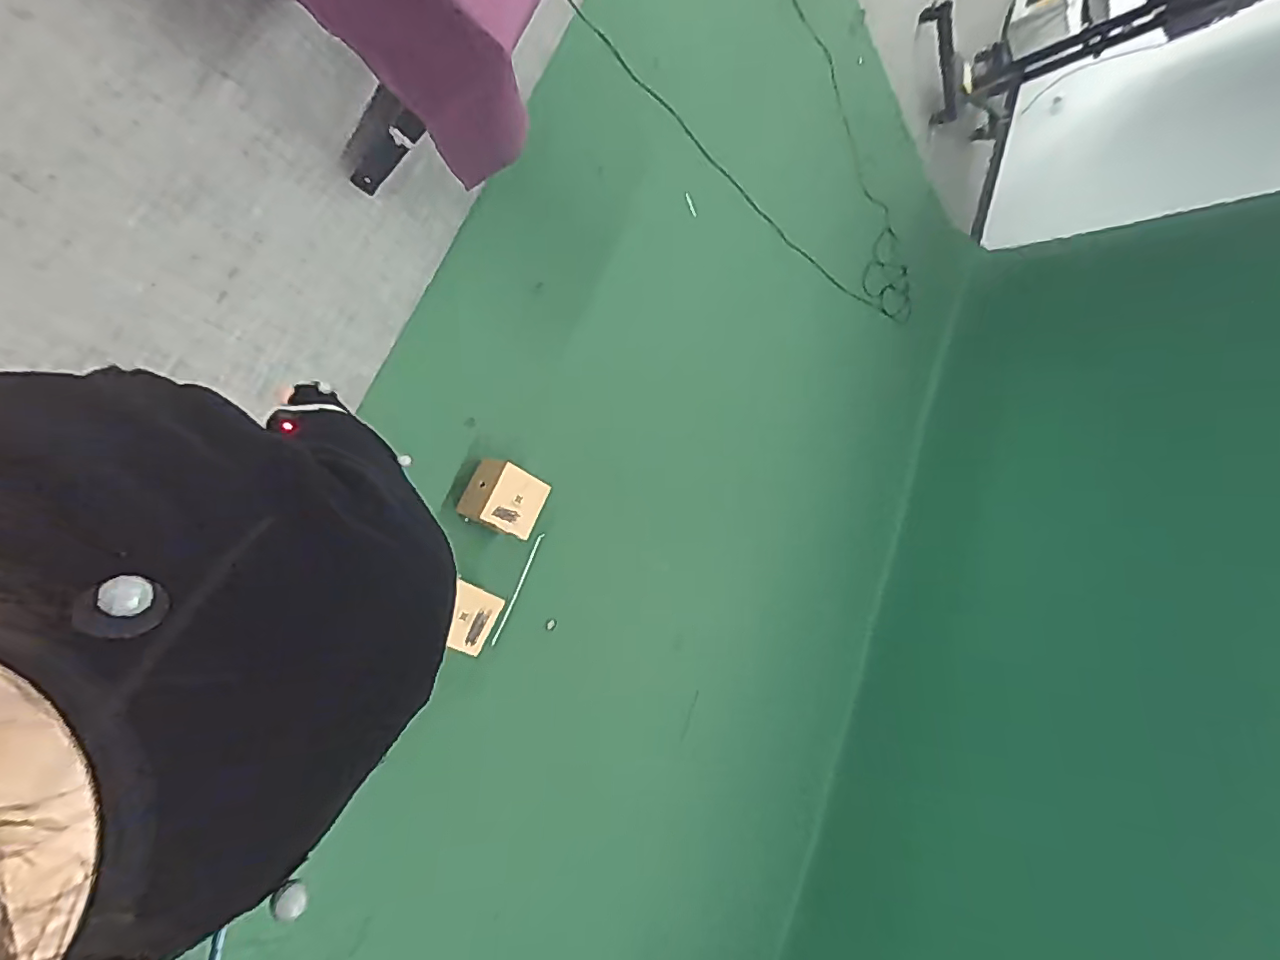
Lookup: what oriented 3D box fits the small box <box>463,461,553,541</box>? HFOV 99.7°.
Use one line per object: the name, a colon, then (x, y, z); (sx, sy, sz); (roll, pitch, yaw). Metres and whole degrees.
small box: (-0.393, 0.058, 1.582); (0.168, 0.176, 0.179); (34, 70, -38)
